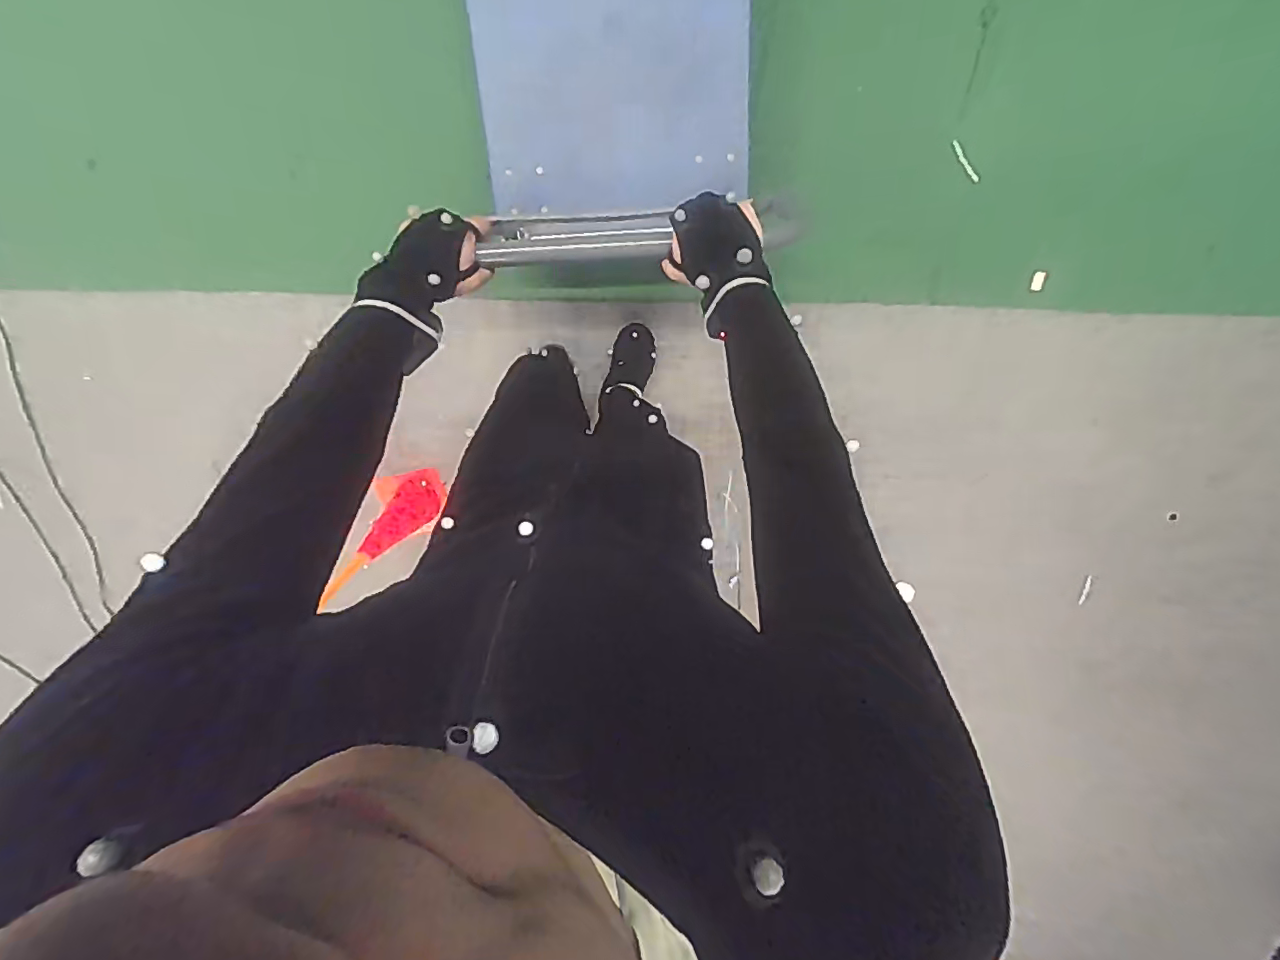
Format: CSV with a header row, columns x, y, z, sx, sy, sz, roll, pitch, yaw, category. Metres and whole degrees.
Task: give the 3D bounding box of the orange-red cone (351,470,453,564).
x,y,z,sx,sy,sz,roll,pitch,yaw,category
-0.690,0.132,1.493,0.199,0.360,0.198,-12,110,6,orange-red cone
